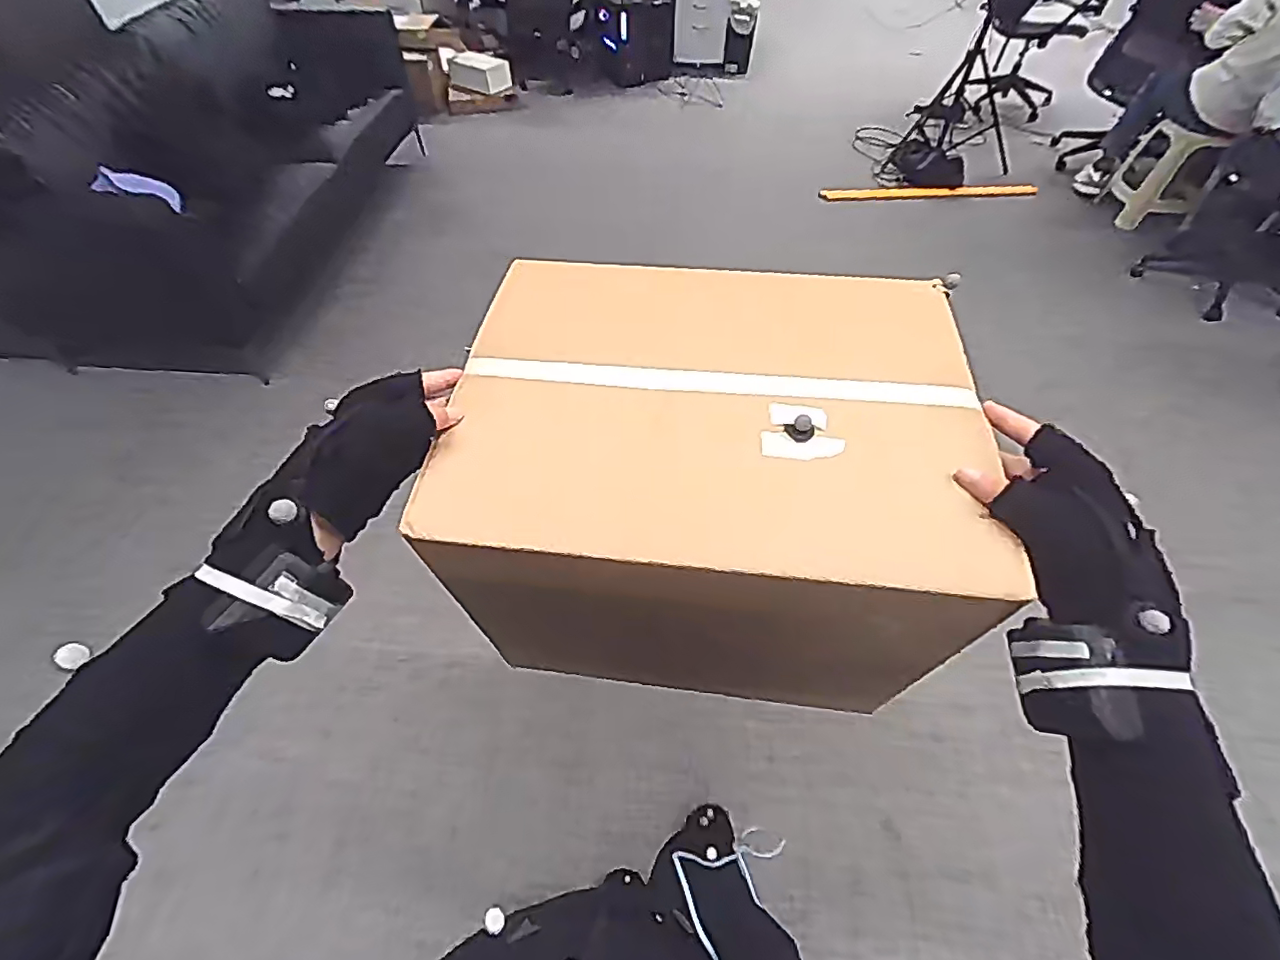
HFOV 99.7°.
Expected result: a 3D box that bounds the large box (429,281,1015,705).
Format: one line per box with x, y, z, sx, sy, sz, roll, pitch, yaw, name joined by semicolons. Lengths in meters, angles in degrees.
0.064;0.022;0.568;0.408;0.320;0.320;5;56;5;large box
